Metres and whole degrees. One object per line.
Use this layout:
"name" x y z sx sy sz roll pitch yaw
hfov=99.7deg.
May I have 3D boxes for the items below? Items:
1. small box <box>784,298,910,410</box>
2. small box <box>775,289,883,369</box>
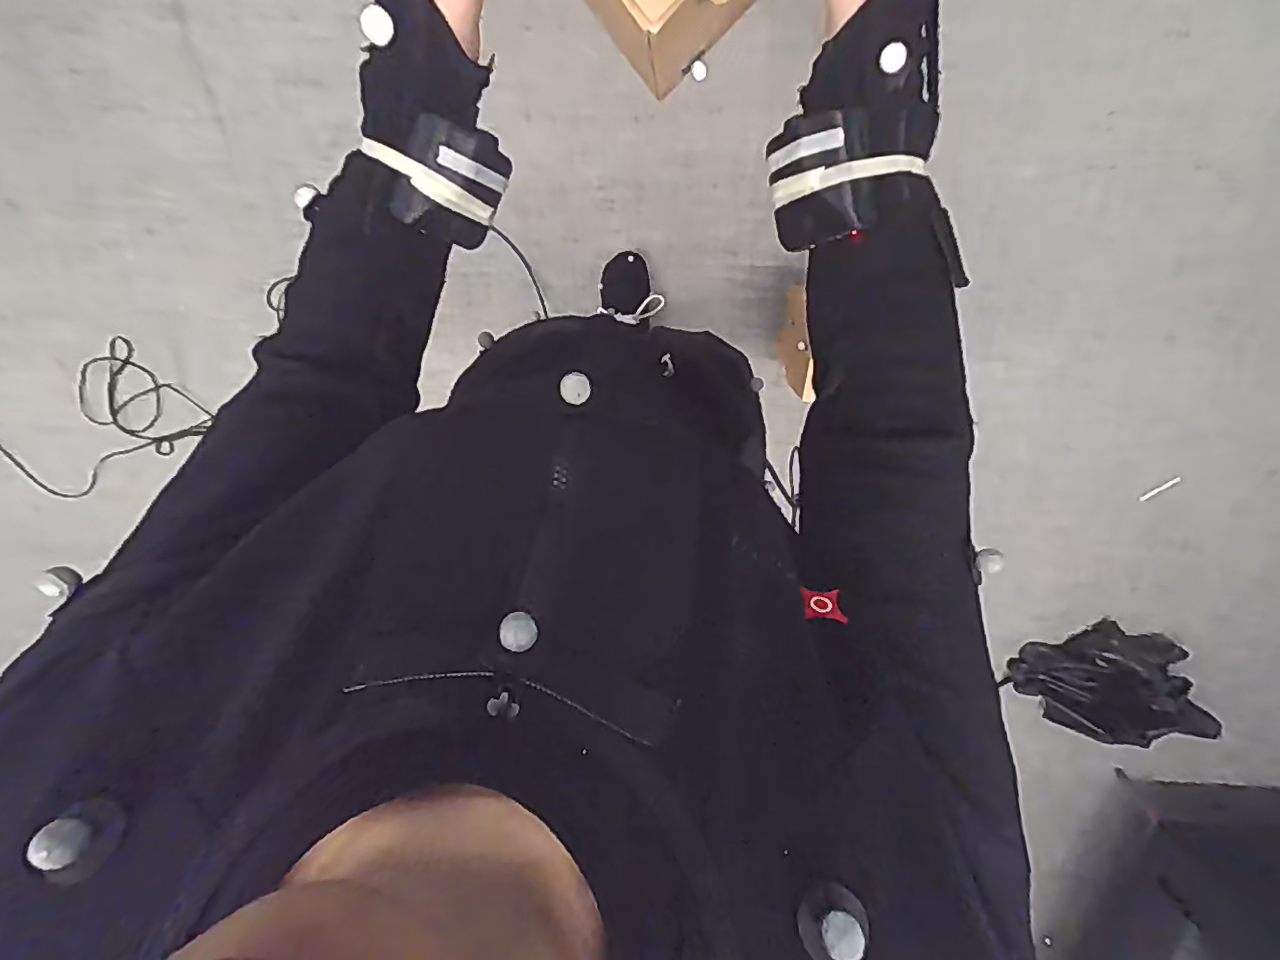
"small box" 0.383 -0.246 1.039 0.168 0.176 0.179 5 112 1
"small box" 0.403 -0.320 1.184 0.168 0.176 0.179 5 112 1
